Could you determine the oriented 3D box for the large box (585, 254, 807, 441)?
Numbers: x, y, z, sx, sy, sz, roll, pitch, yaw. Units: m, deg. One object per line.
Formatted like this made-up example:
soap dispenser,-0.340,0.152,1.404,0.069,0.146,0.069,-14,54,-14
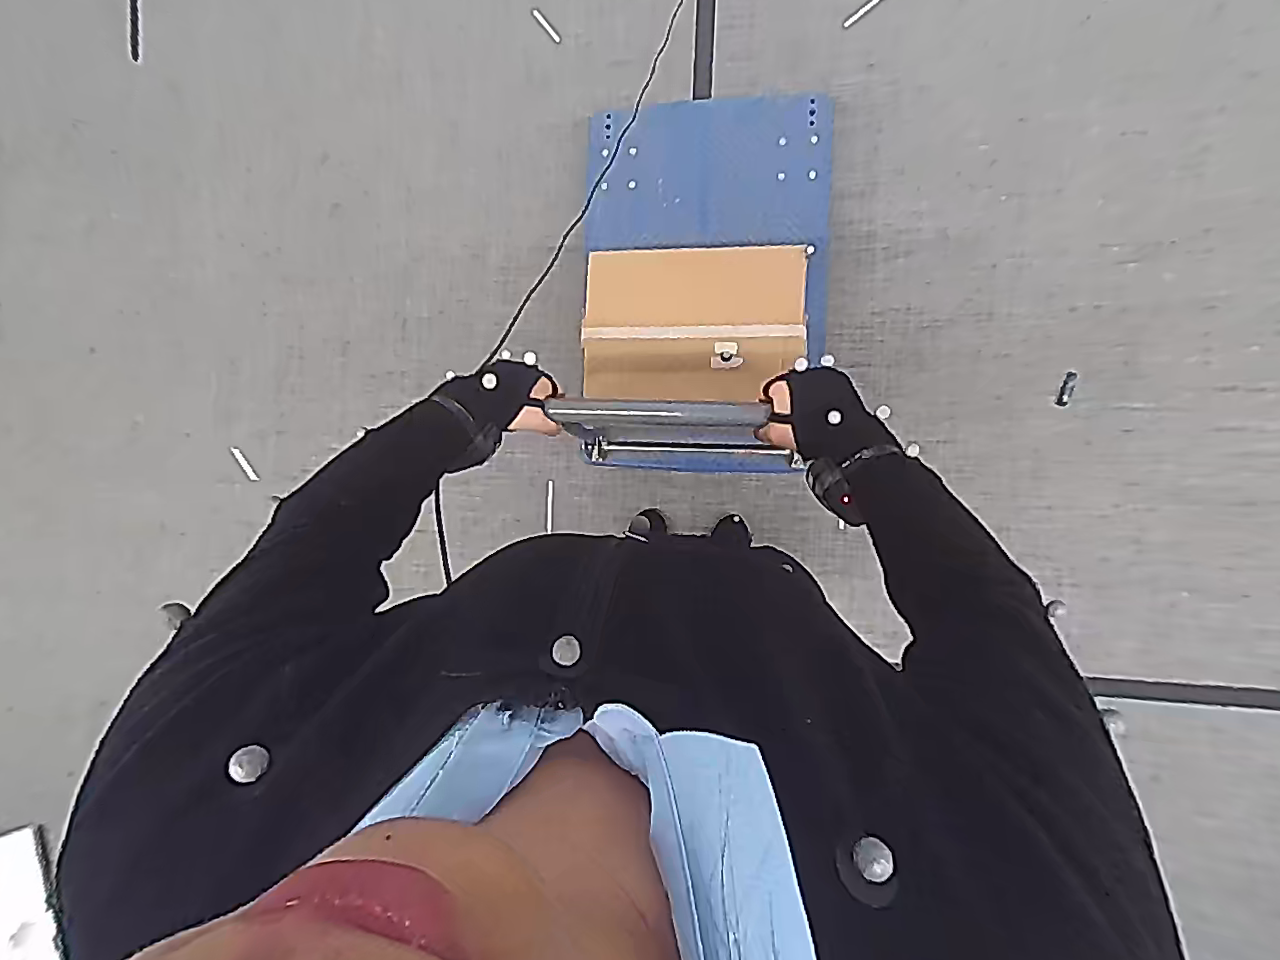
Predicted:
large box,0.116,-0.250,1.134,0.408,0.320,0.320,2,90,9
